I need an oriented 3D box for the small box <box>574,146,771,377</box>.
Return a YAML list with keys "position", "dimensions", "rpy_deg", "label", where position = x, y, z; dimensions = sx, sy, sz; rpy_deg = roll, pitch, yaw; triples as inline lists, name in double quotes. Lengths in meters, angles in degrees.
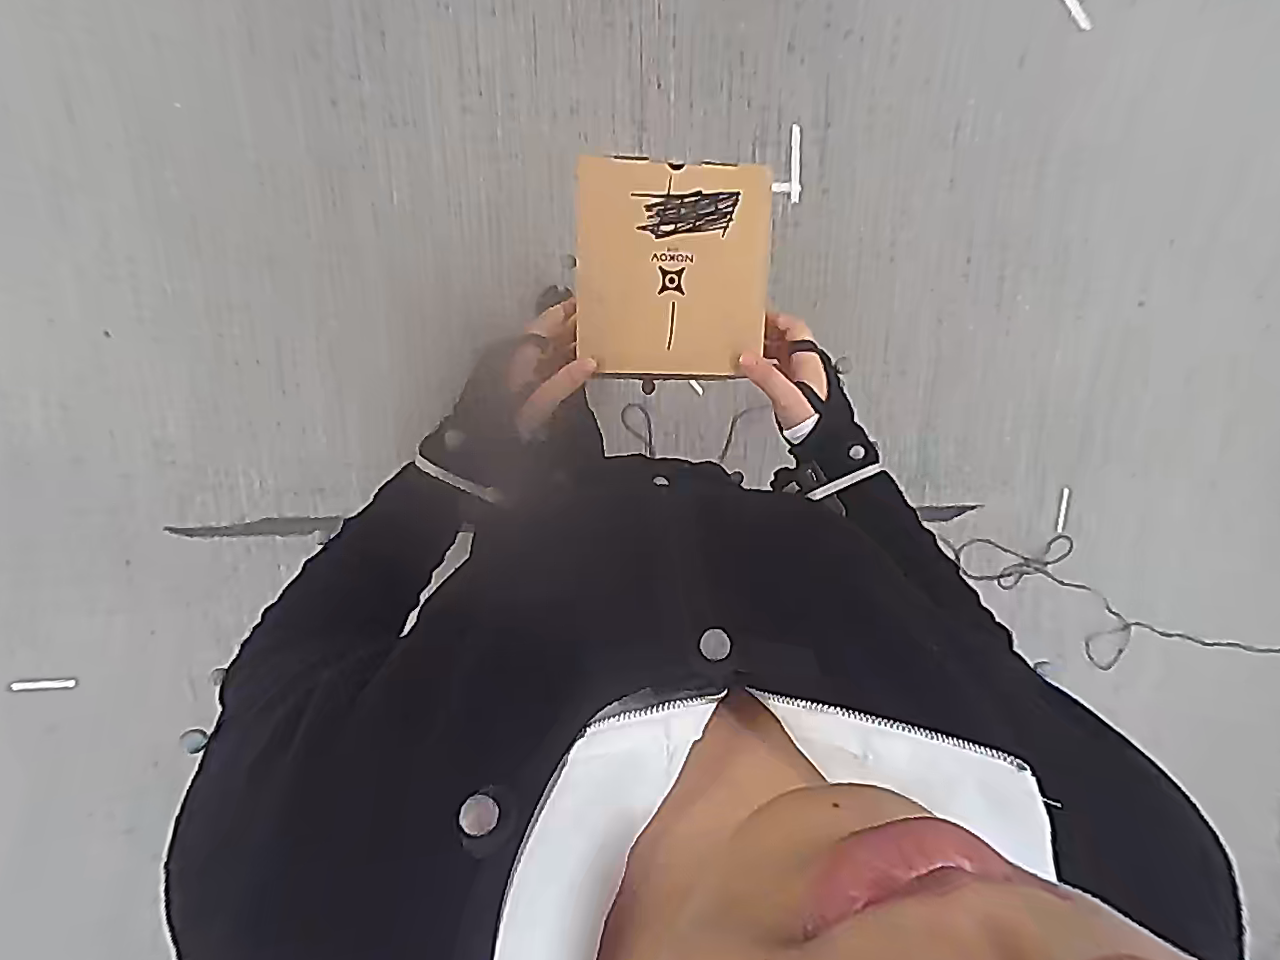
- position: [0.019, -0.196, 0.536]
  dimensions: [0.168, 0.176, 0.179]
  rpy_deg: [0, 99, -6]
  label: "small box"
